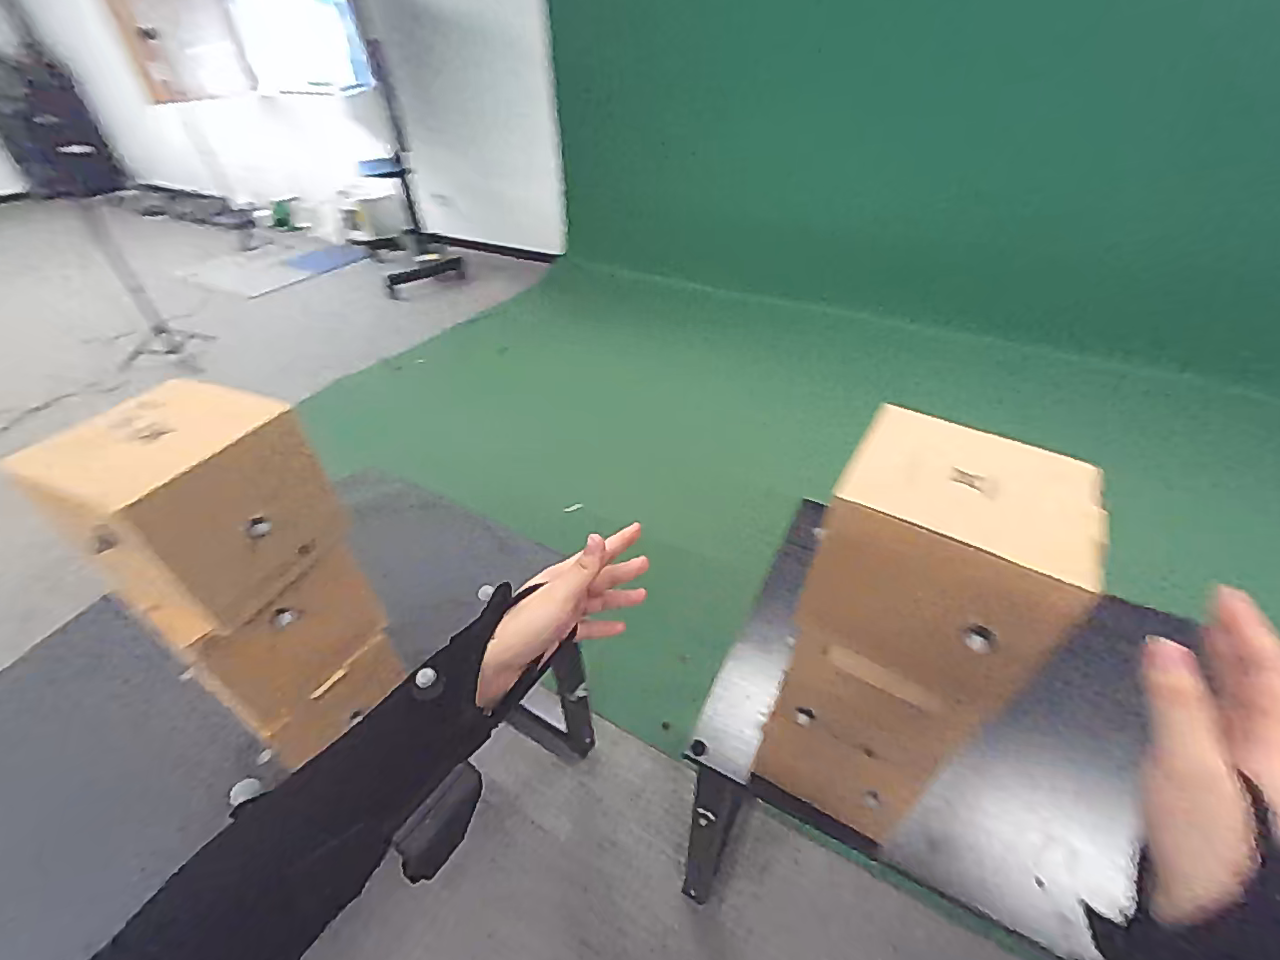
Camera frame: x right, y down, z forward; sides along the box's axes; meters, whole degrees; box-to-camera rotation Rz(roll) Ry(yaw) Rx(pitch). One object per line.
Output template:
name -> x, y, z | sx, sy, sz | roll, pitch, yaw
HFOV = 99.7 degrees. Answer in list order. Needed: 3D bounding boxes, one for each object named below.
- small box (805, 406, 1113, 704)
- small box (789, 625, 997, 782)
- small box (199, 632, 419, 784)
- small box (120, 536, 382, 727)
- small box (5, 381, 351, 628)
small box -> 0.268, 0.065, 0.478 | 0.179, 0.176, 0.168 | 22, 44, 25
small box -> 0.275, 0.184, 0.588 | 0.168, 0.176, 0.179 | 23, 45, 24
small box -> -0.441, 0.284, 0.748 | 0.179, 0.176, 0.168 | 21, 46, 26
small box -> -0.443, 0.153, 0.651 | 0.168, 0.176, 0.179 | 19, 45, 25
small box -> -0.439, 0.024, 0.548 | 0.179, 0.176, 0.168 | 13, 42, 19
